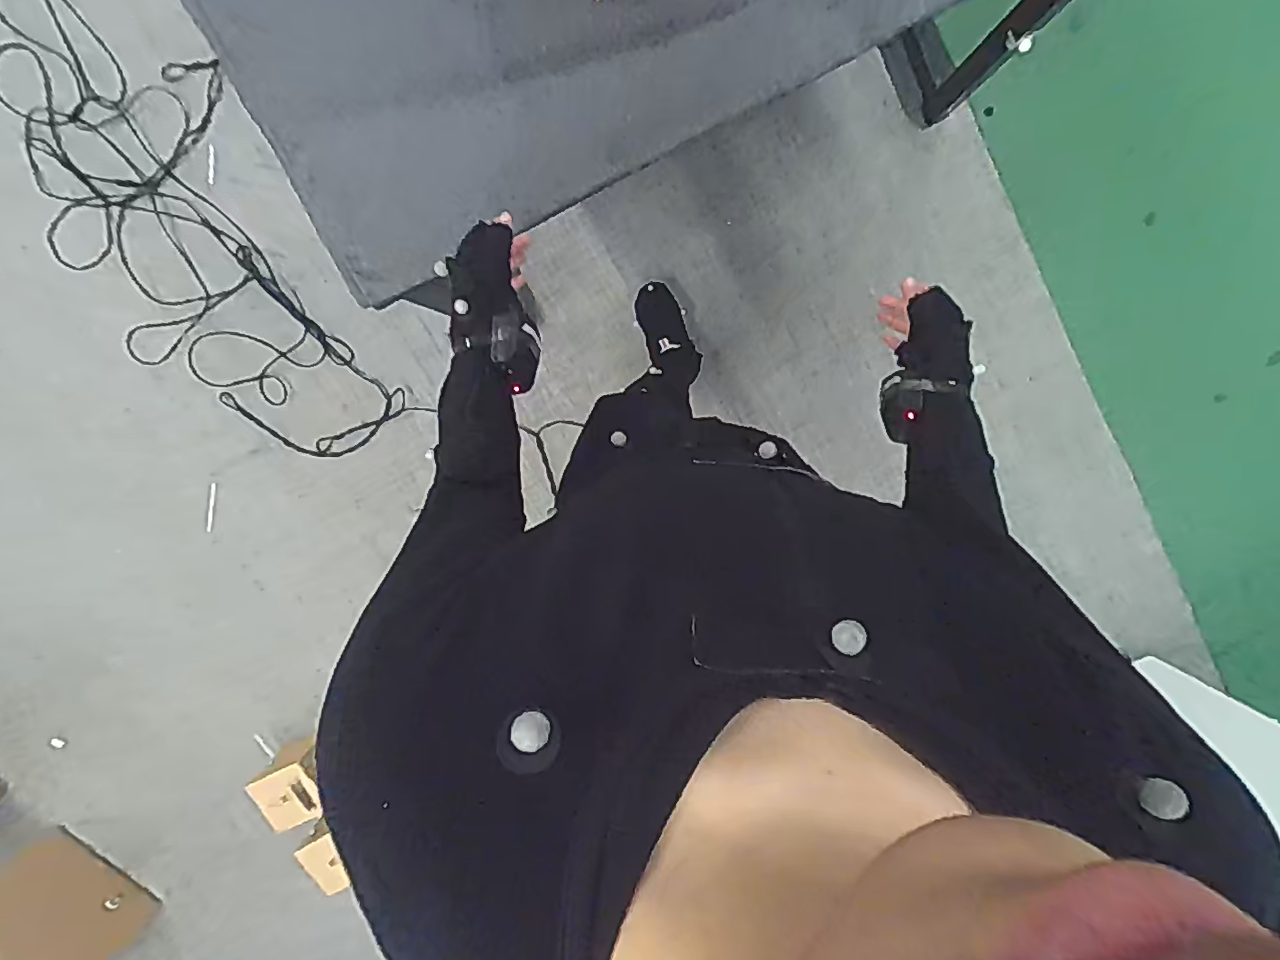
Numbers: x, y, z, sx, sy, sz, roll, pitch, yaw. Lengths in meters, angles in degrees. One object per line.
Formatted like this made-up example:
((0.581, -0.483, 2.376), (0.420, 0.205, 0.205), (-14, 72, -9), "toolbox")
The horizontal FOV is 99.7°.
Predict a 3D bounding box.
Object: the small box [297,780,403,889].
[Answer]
((-0.835, 1.025, 1.575), (0.179, 0.176, 0.168), (-32, 99, 6), "small box")
